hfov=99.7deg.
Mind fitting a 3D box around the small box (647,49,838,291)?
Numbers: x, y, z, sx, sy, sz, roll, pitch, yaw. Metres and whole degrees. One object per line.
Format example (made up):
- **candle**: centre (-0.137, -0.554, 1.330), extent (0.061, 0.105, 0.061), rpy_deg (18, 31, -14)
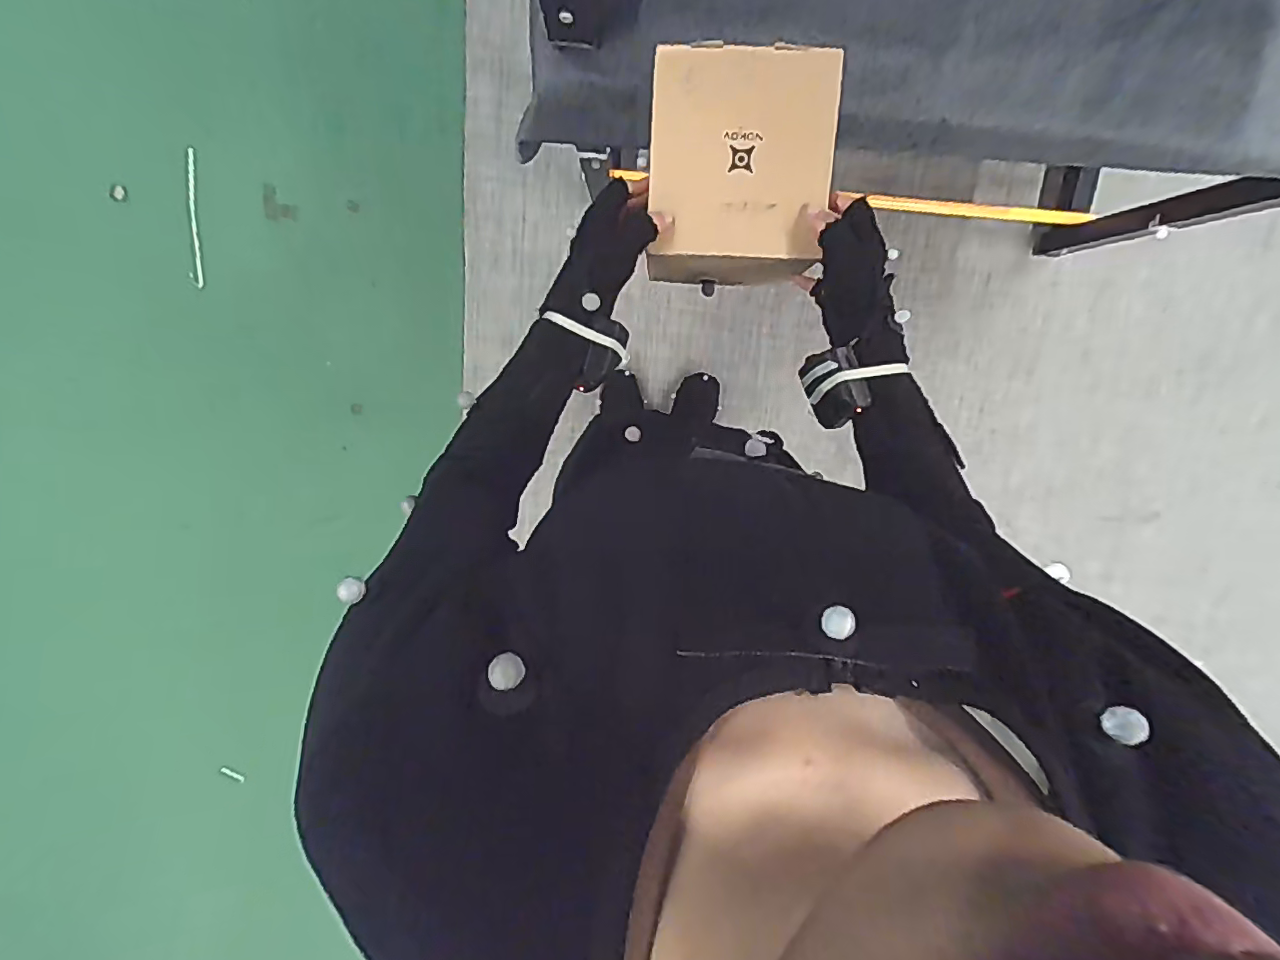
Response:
- **small box**: centre (0.094, -0.307, 0.570), extent (0.168, 0.176, 0.179), rpy_deg (3, 101, 3)
